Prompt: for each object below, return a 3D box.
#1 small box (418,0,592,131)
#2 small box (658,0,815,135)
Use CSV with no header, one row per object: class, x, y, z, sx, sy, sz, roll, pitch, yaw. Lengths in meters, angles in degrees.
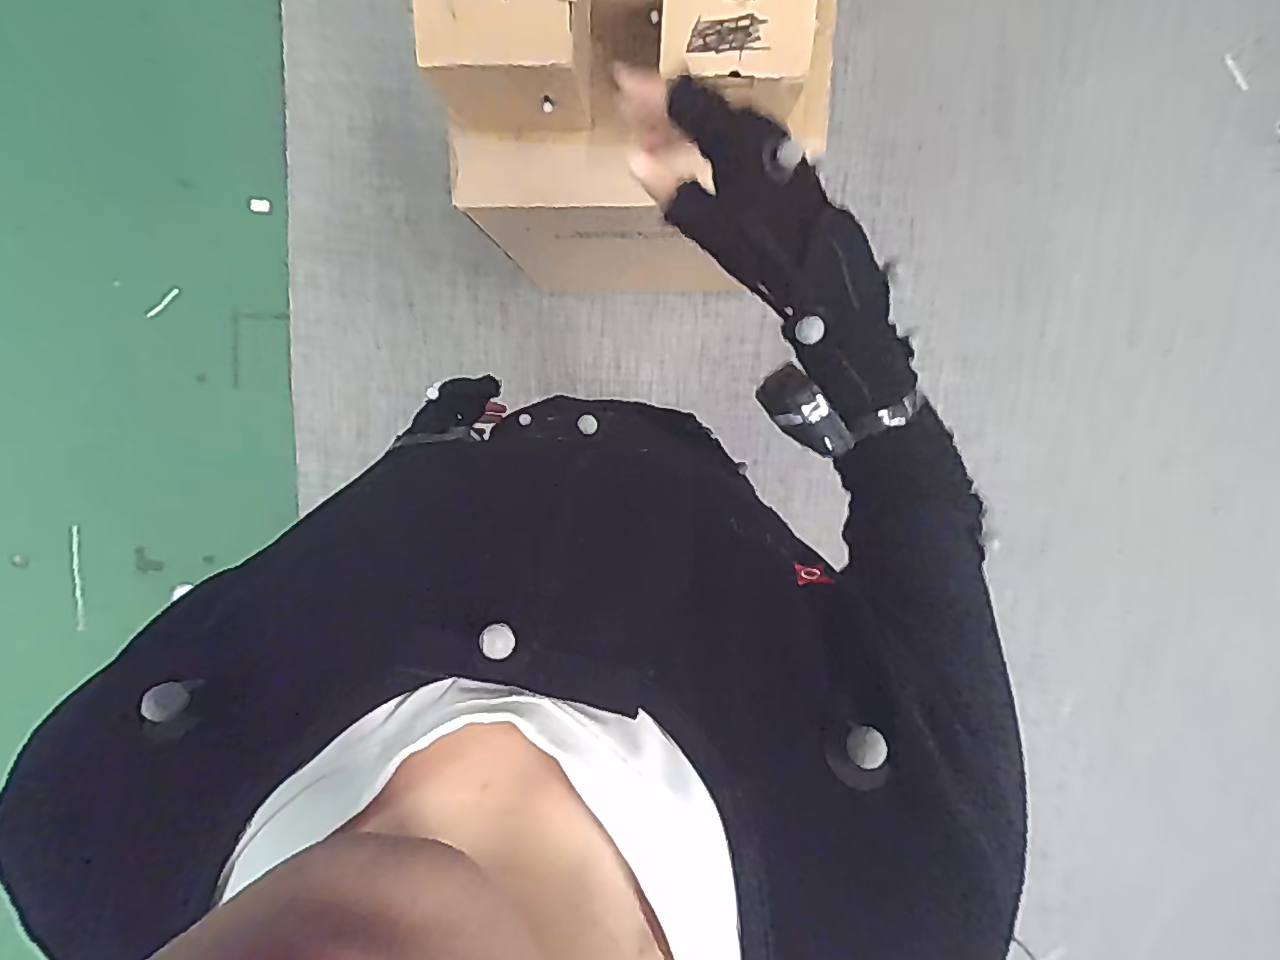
small box,-0.154,-0.555,0.665,0.179,0.176,0.168,1,101,4
small box,0.111,-0.543,0.651,0.168,0.176,0.179,3,102,2
